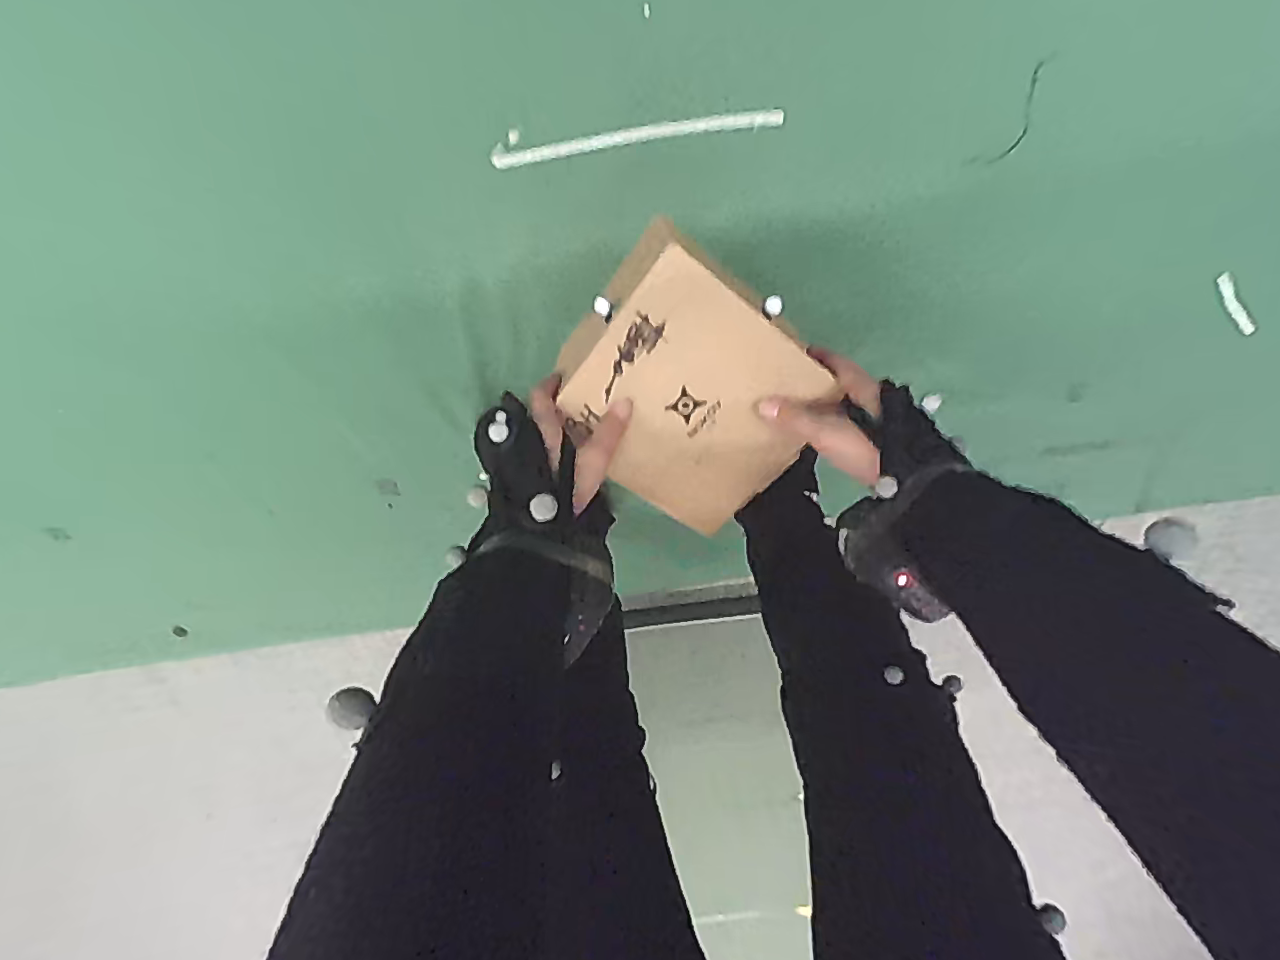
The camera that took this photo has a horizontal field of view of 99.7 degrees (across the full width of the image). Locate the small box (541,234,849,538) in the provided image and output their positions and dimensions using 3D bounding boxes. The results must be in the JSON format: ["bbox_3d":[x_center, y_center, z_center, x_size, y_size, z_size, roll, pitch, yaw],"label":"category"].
[{"bbox_3d":[0.039,-0.089,0.472,0.179,0.176,0.168,33,115,-19],"label":"small box"}]
